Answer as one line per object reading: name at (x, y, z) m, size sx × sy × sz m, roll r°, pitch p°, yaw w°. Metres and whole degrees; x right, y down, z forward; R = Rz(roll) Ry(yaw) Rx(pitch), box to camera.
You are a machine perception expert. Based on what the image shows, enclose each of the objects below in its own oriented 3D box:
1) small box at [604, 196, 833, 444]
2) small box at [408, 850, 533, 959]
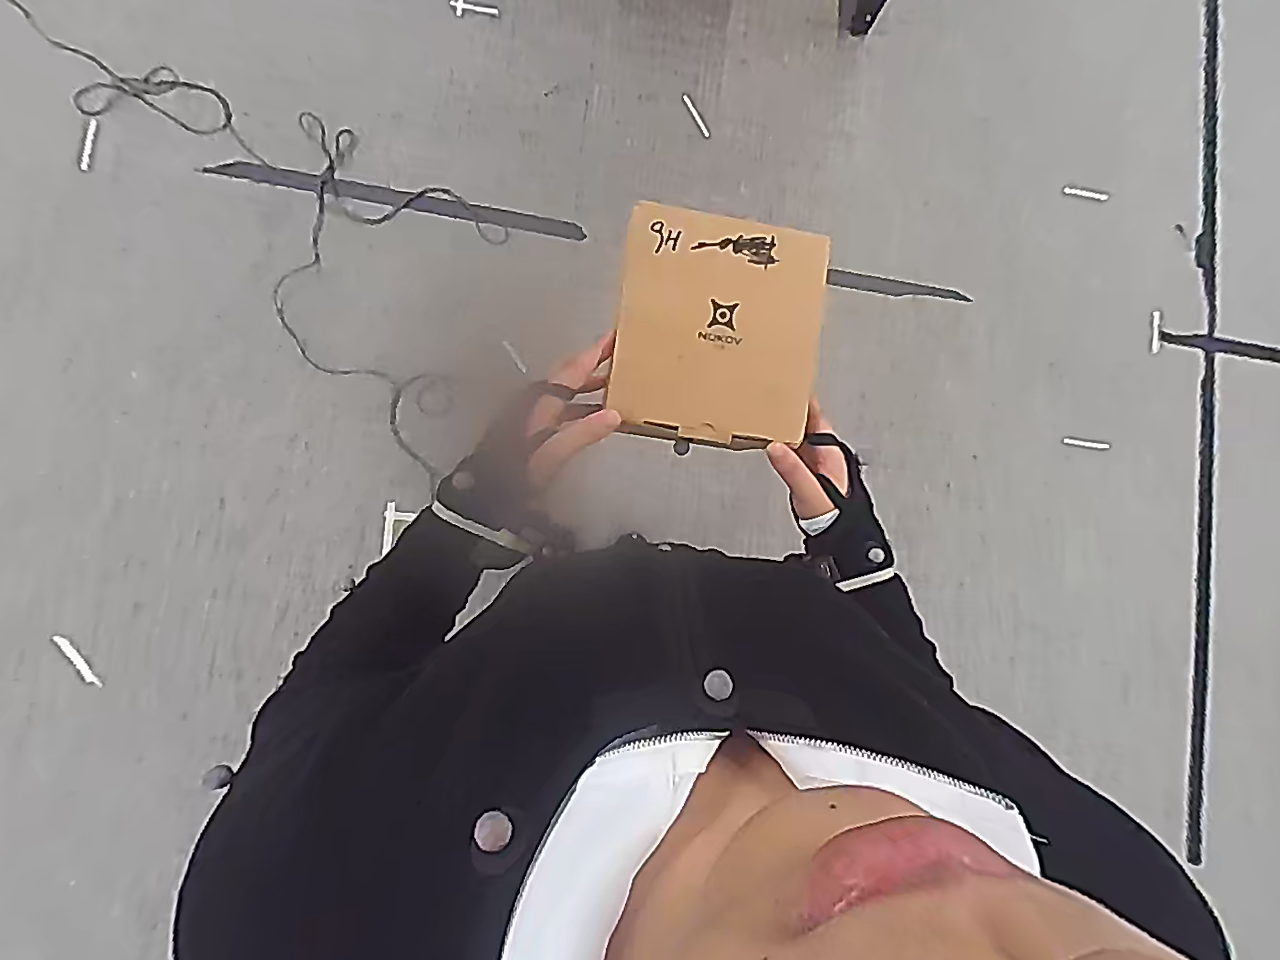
small box at (0.058, -0.131, 0.514) m, size 0.168 × 0.176 × 0.179 m, roll 8°, pitch 92°, yaw -6°
small box at (-0.267, 0.736, 0.869) m, size 0.168 × 0.176 × 0.179 m, roll 4°, pitch 83°, yaw -6°
